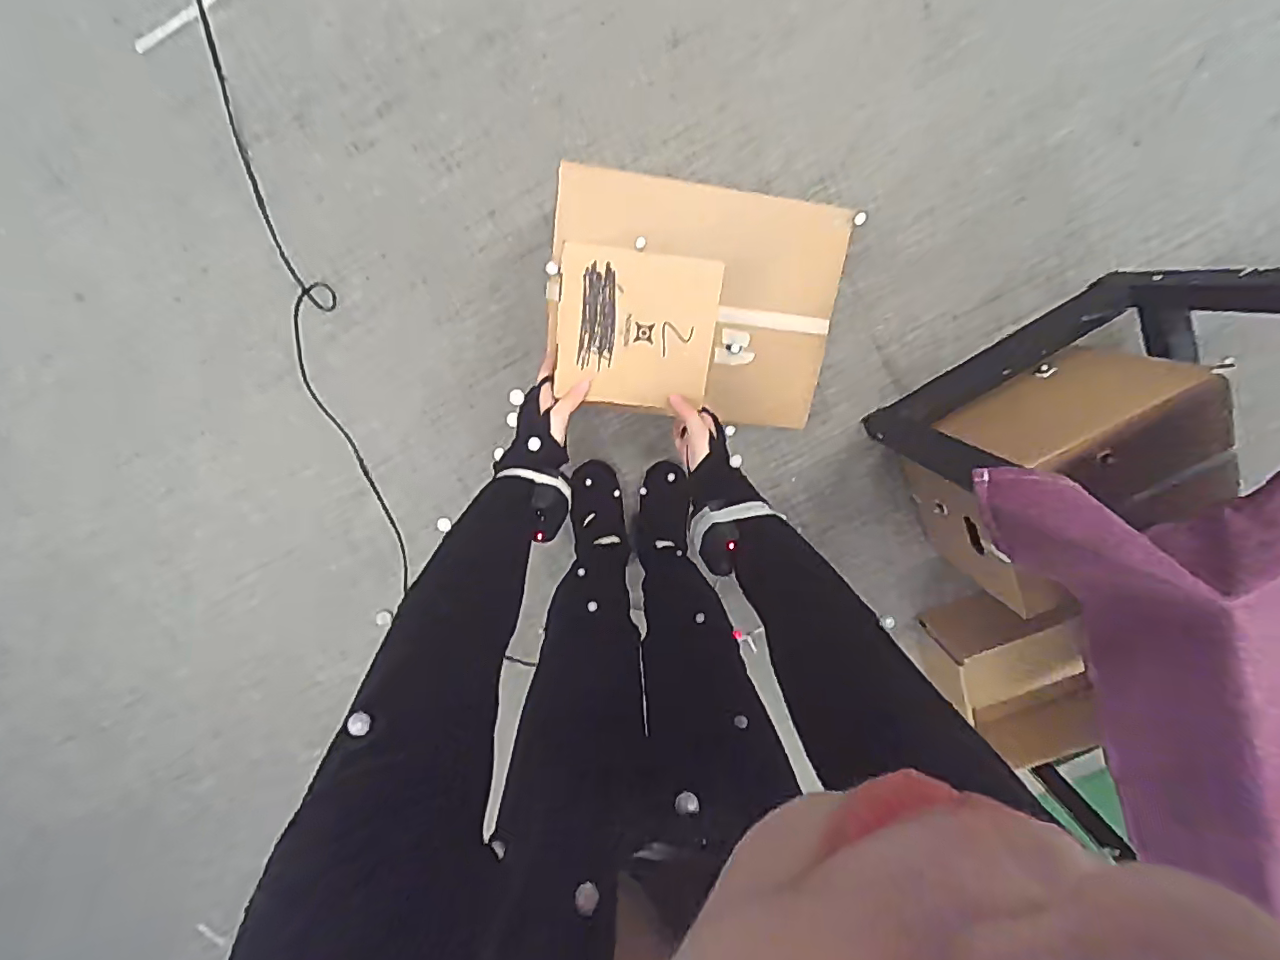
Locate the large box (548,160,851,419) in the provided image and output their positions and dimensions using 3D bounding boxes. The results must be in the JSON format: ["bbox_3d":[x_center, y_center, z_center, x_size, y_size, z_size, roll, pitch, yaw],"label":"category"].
[{"bbox_3d":[0.061,-0.302,0.899,0.408,0.320,0.320,5,111,-8],"label":"large box"}]
